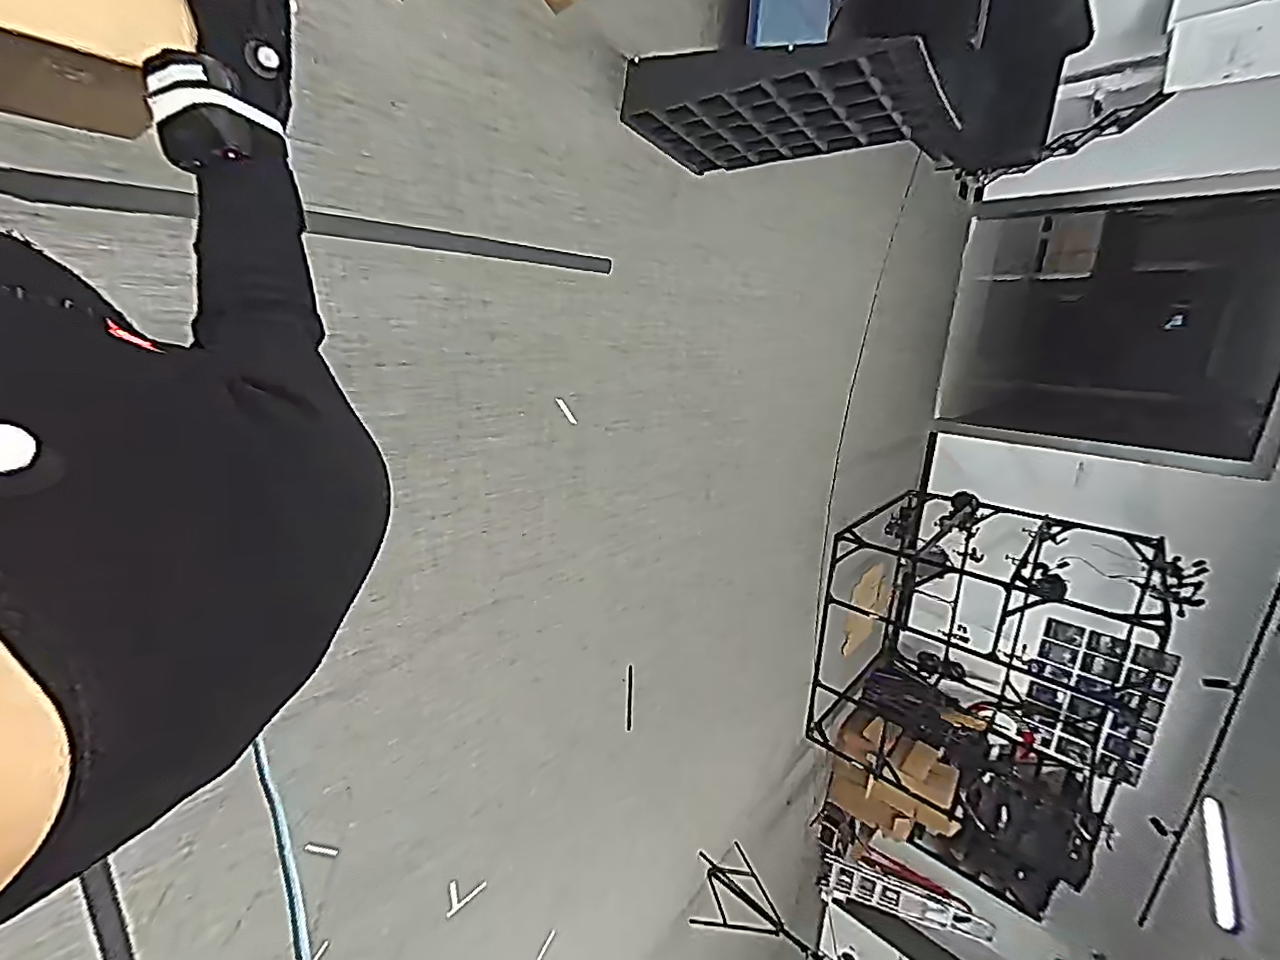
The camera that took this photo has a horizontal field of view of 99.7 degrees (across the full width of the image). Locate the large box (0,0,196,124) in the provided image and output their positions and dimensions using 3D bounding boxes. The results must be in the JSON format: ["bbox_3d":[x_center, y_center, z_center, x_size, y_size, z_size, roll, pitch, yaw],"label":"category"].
[{"bbox_3d":[-0.569,-0.454,0.311,0.408,0.320,0.320,-15,118,-47],"label":"large box"}]
